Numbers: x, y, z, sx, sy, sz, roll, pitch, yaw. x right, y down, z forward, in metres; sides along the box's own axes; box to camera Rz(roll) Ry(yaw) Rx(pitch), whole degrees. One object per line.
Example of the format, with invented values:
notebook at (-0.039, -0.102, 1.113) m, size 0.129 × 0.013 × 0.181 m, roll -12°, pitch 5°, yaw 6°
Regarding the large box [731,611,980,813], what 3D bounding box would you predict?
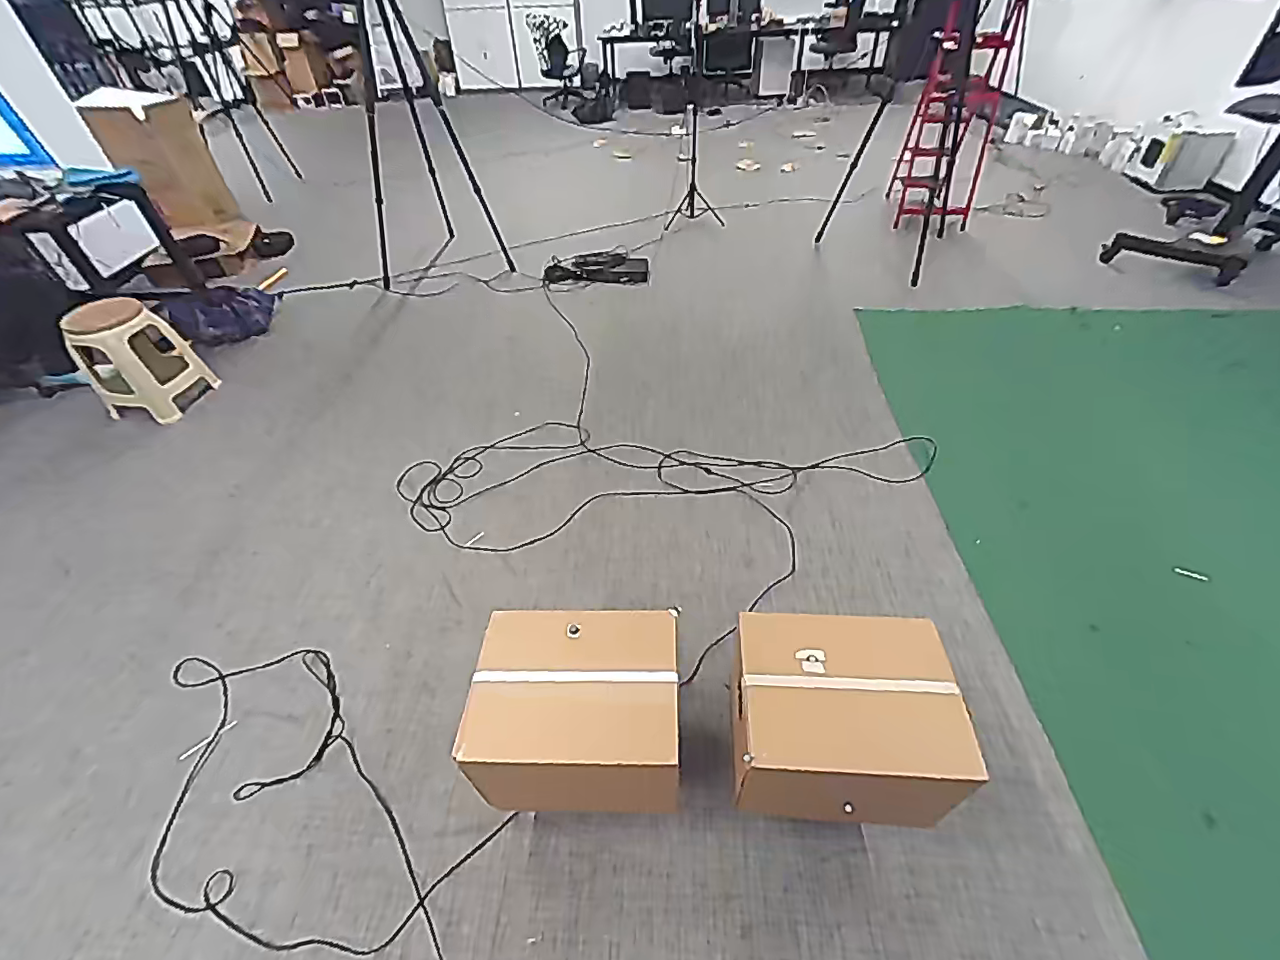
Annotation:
large box at (0.412, 0.498, 1.158) m, size 0.408 × 0.320 × 0.320 m, roll 1°, pitch 45°, yaw 5°
